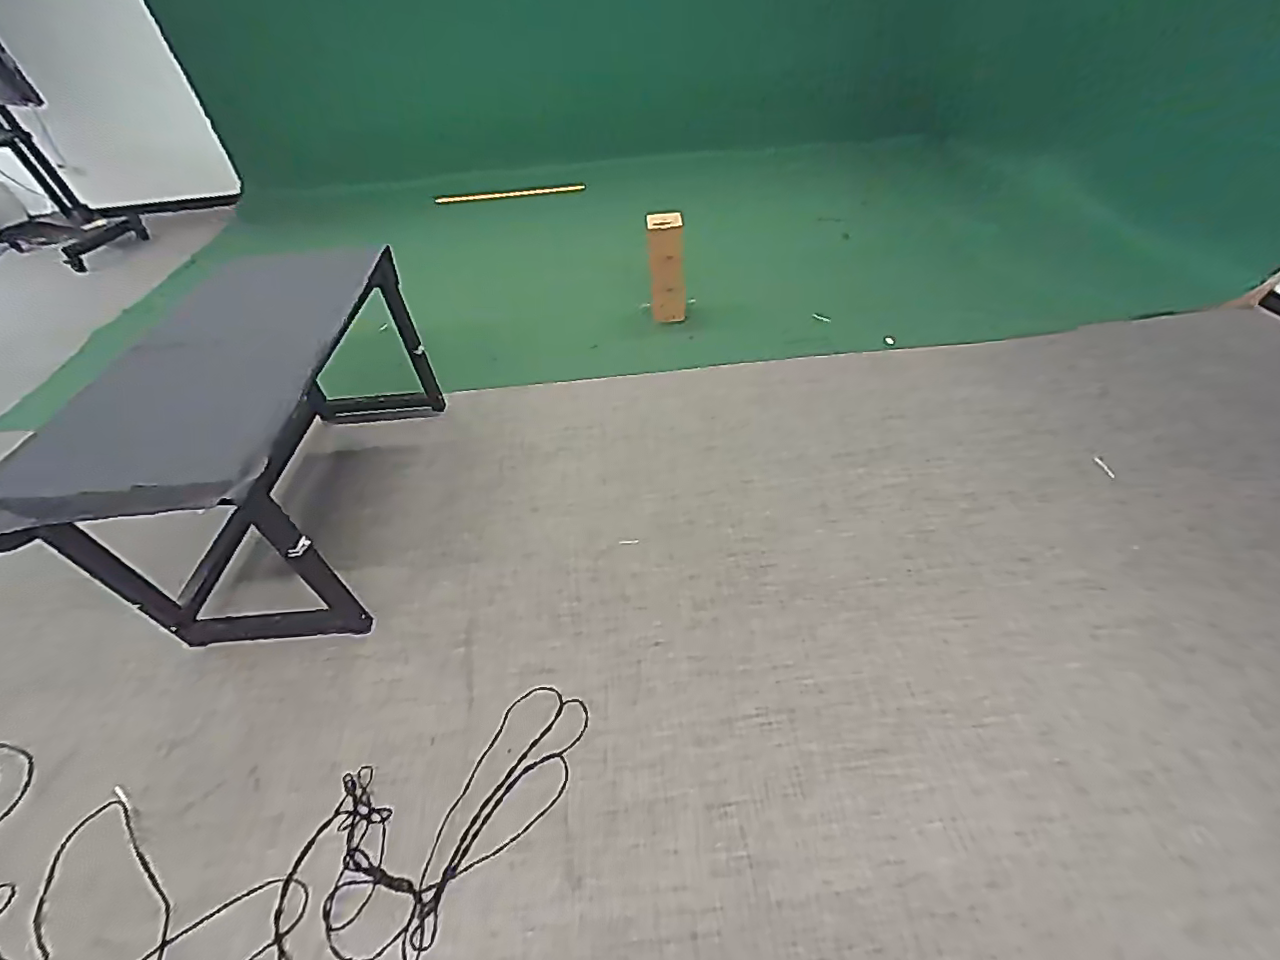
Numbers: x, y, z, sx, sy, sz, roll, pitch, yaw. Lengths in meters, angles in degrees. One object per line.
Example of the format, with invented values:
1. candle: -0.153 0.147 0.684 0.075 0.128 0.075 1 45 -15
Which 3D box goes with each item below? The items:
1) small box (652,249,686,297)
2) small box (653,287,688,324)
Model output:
1. small box: 0.148 -1.068 2.790 0.168 0.176 0.179 -5 45 3
2. small box: 0.166 -0.952 2.907 0.168 0.176 0.179 -7 45 1
